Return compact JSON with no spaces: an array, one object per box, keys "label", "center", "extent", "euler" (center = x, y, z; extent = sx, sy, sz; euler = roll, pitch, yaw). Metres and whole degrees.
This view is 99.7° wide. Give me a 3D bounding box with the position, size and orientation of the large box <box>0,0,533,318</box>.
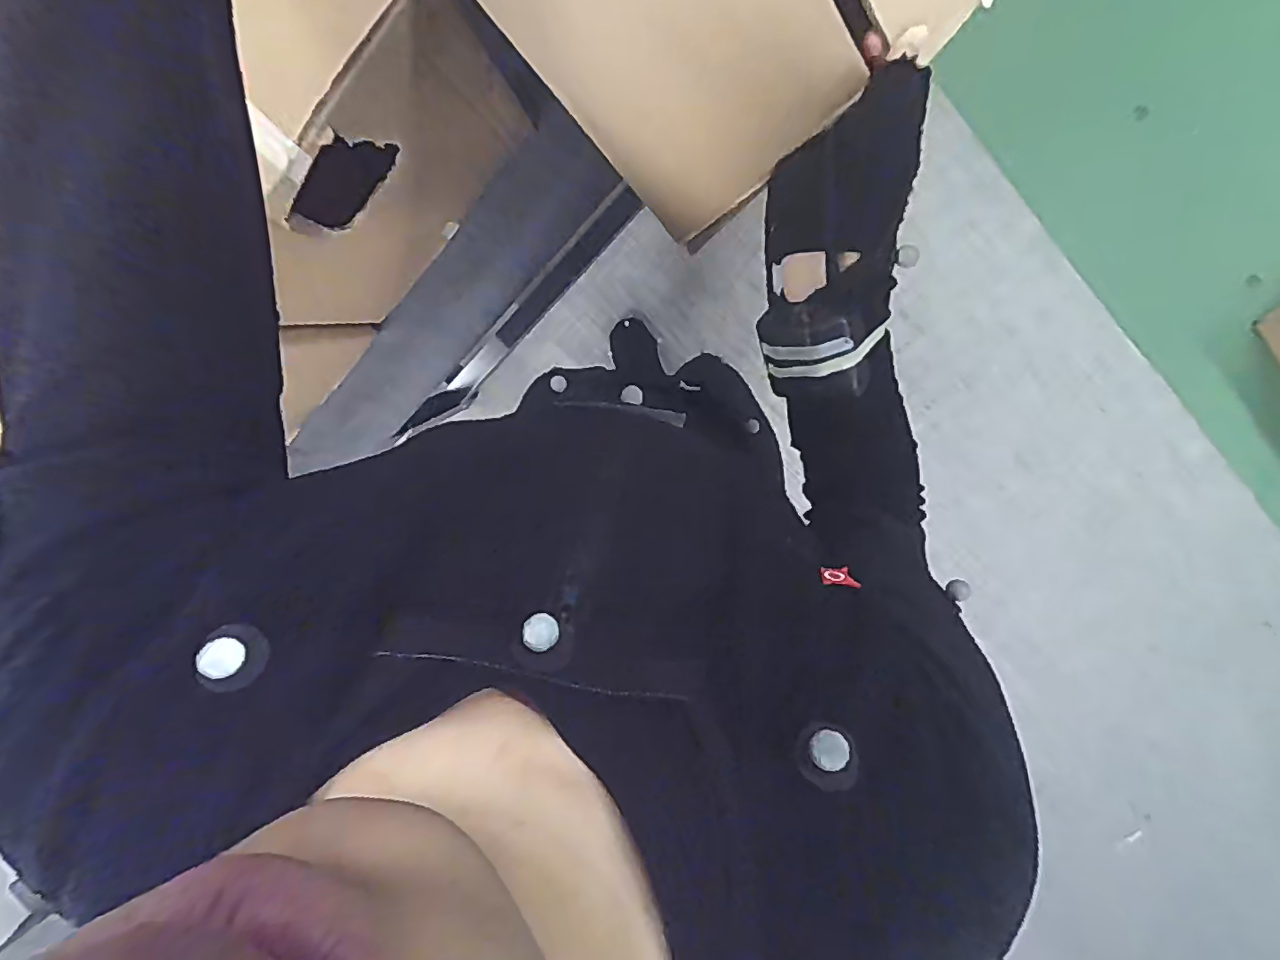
[{"label":"large box","center":[-0.368,-0.397,0.481],"extent":[0.408,0.320,0.320],"euler":[43,104,-11]}]
